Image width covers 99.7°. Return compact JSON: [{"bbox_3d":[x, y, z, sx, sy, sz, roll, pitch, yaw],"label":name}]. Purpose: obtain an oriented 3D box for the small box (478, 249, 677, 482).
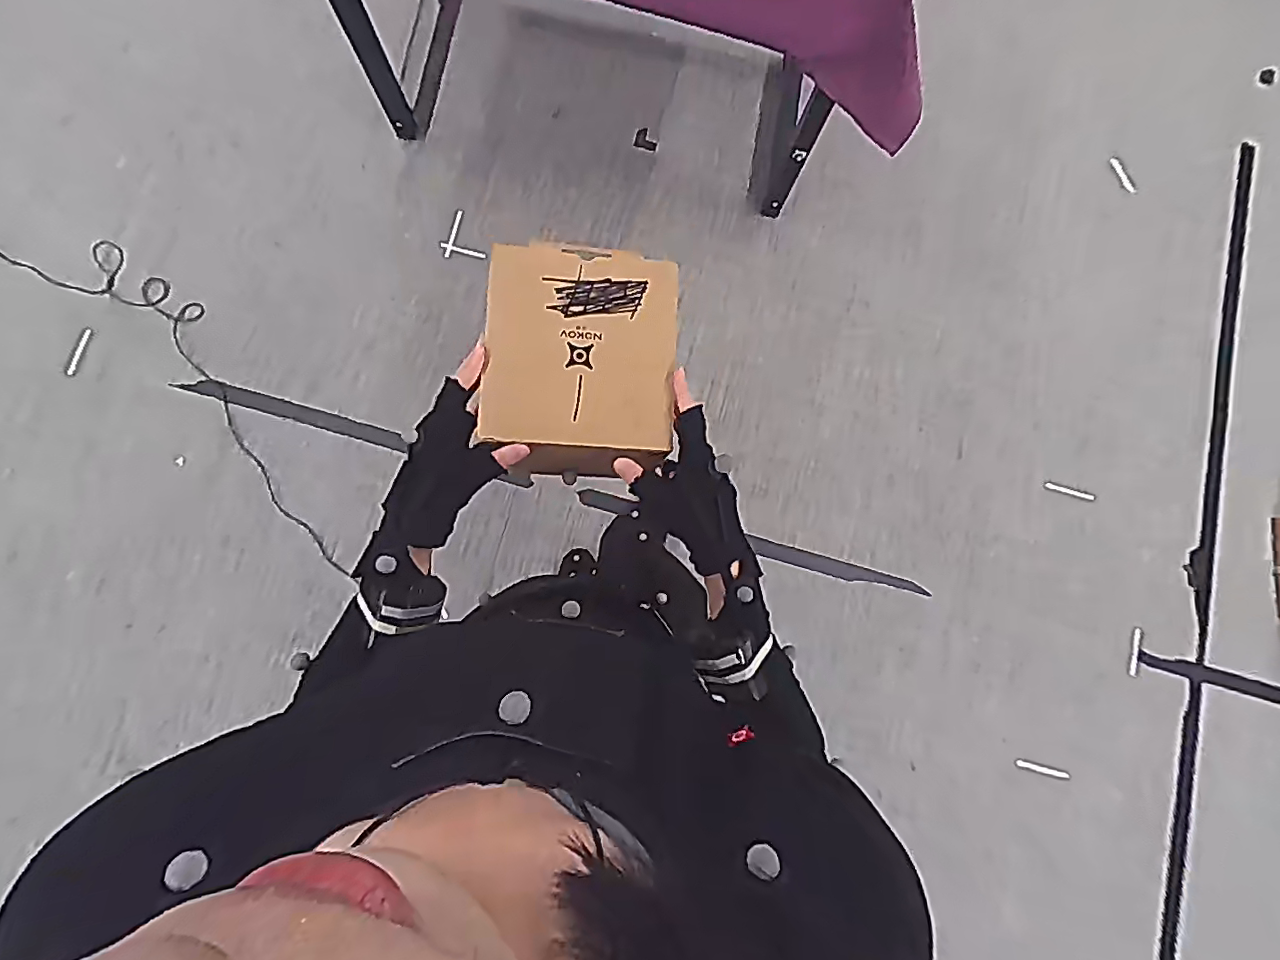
[{"bbox_3d":[-0.059,-0.101,0.546,0.168,0.176,0.179,2,80,-5],"label":"small box"}]
